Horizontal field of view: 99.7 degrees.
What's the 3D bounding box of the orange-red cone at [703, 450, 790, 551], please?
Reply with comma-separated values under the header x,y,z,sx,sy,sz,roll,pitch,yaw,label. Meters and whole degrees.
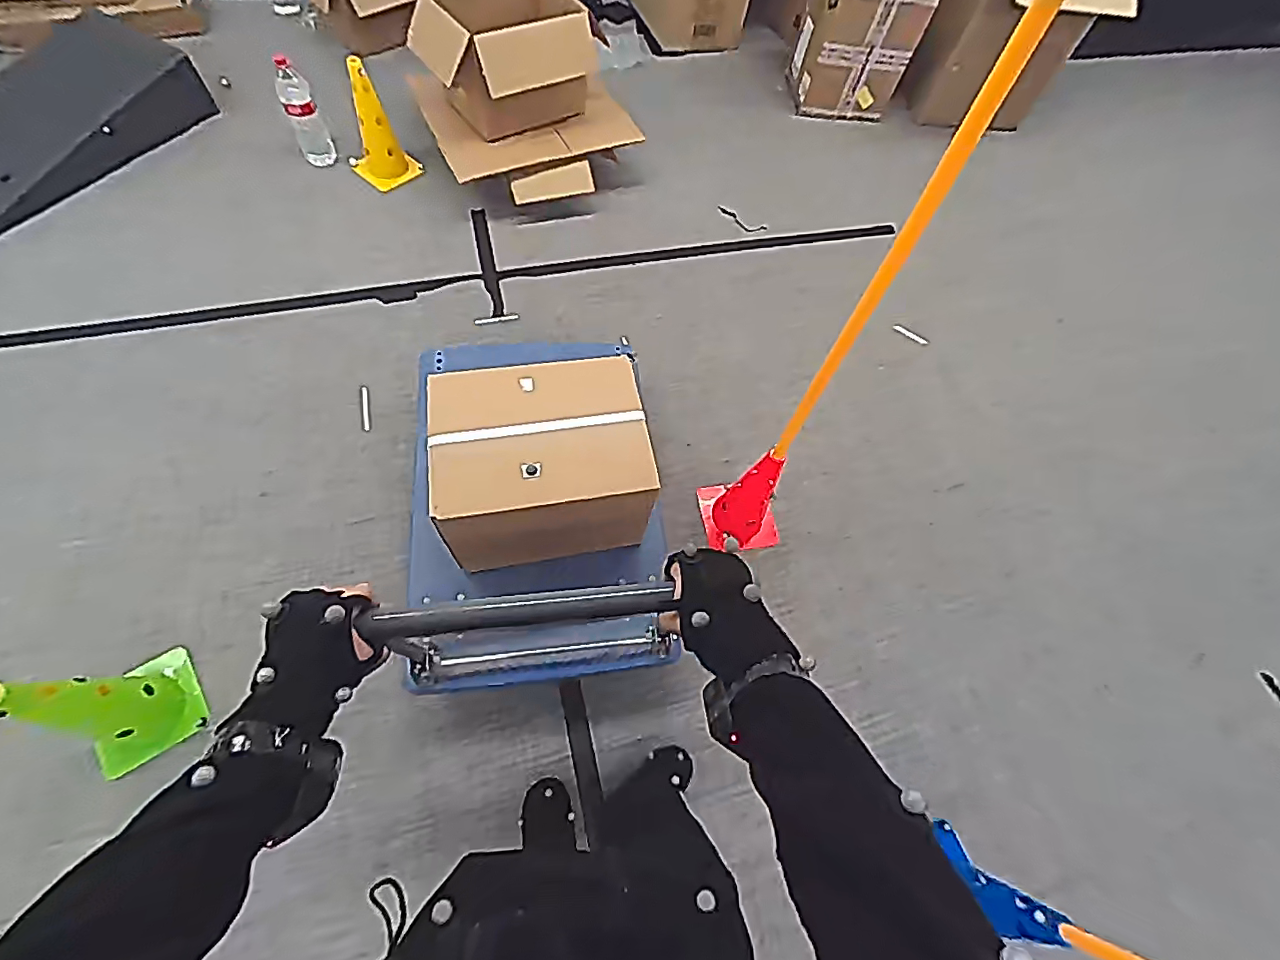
x,y,z,sx,sy,sz,roll,pitch,yaw,label
0.302,0.025,1.363,0.199,0.360,0.198,-5,65,-10,orange-red cone
